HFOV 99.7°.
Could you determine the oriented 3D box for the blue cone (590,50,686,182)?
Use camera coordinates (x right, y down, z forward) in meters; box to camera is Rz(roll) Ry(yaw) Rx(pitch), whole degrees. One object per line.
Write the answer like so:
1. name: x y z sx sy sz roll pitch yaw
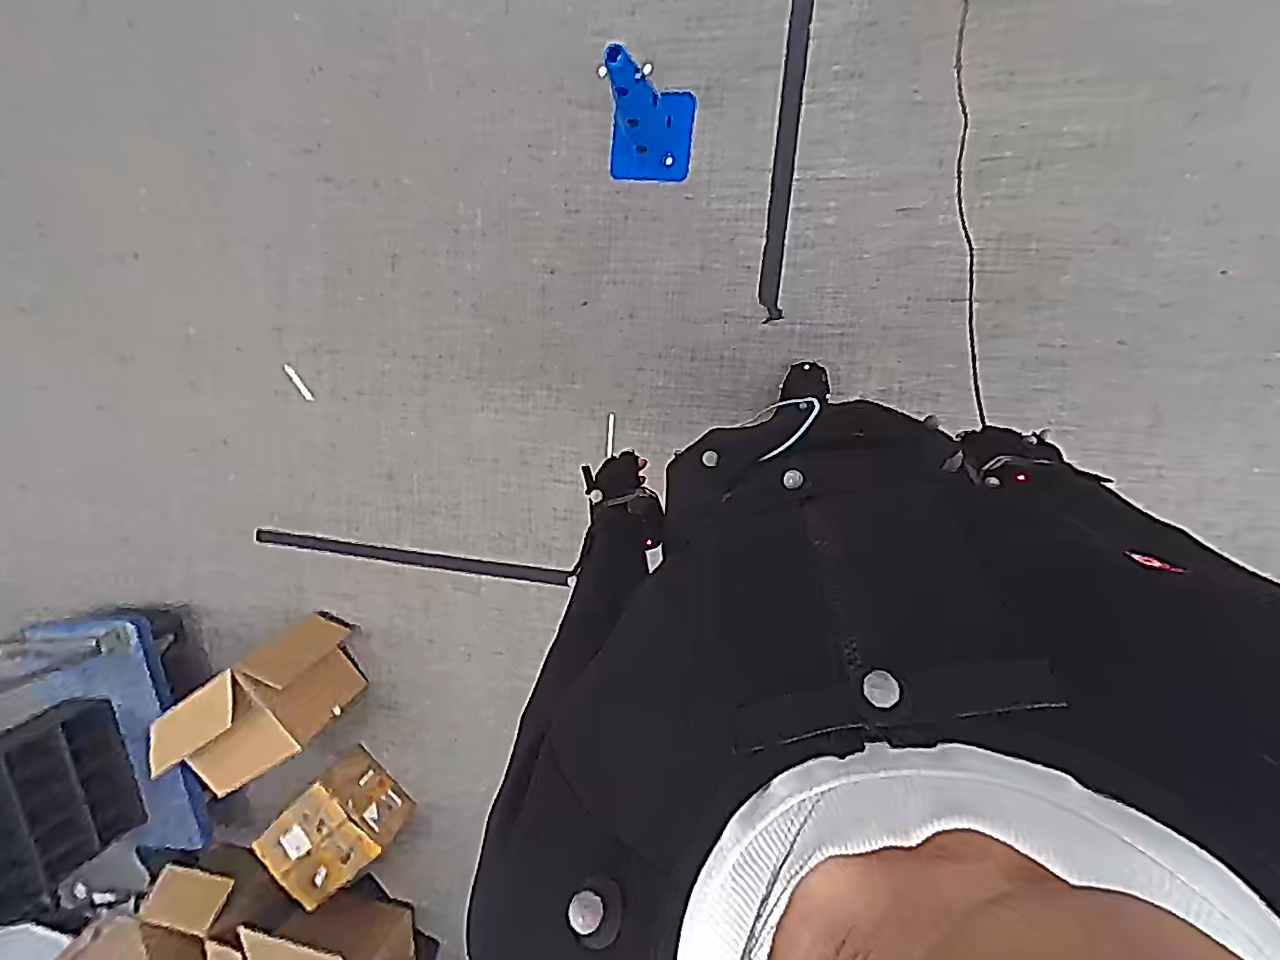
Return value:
1. blue cone: -0.023 -0.809 1.174 0.192 0.380 0.193 10 102 11
